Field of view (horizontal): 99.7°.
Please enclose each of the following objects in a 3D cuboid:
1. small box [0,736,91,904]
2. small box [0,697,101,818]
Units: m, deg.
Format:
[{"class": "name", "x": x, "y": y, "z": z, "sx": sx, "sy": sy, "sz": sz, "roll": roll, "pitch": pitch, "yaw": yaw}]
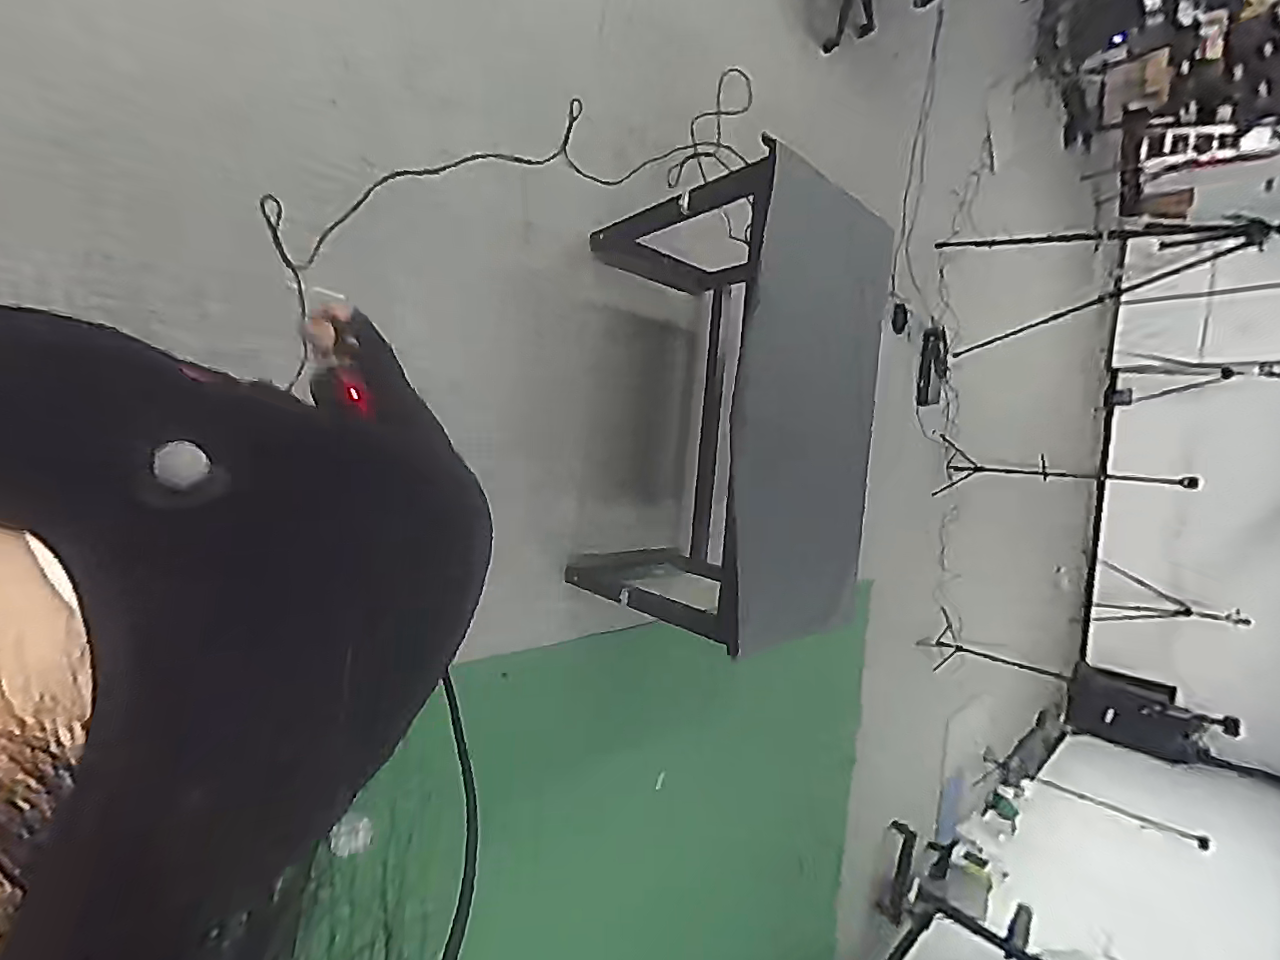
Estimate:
[{"class": "small box", "x": -0.969, "y": 0.519, "z": 0.824, "sx": 0.179, "sy": 0.176, "sz": 0.168, "roll": 2, "pitch": 91, "yaw": -42}, {"class": "small box", "x": -1.073, "y": 0.499, "z": 0.948, "sx": 0.168, "sy": 0.176, "sz": 0.179, "roll": 6, "pitch": 89, "yaw": -43}]
